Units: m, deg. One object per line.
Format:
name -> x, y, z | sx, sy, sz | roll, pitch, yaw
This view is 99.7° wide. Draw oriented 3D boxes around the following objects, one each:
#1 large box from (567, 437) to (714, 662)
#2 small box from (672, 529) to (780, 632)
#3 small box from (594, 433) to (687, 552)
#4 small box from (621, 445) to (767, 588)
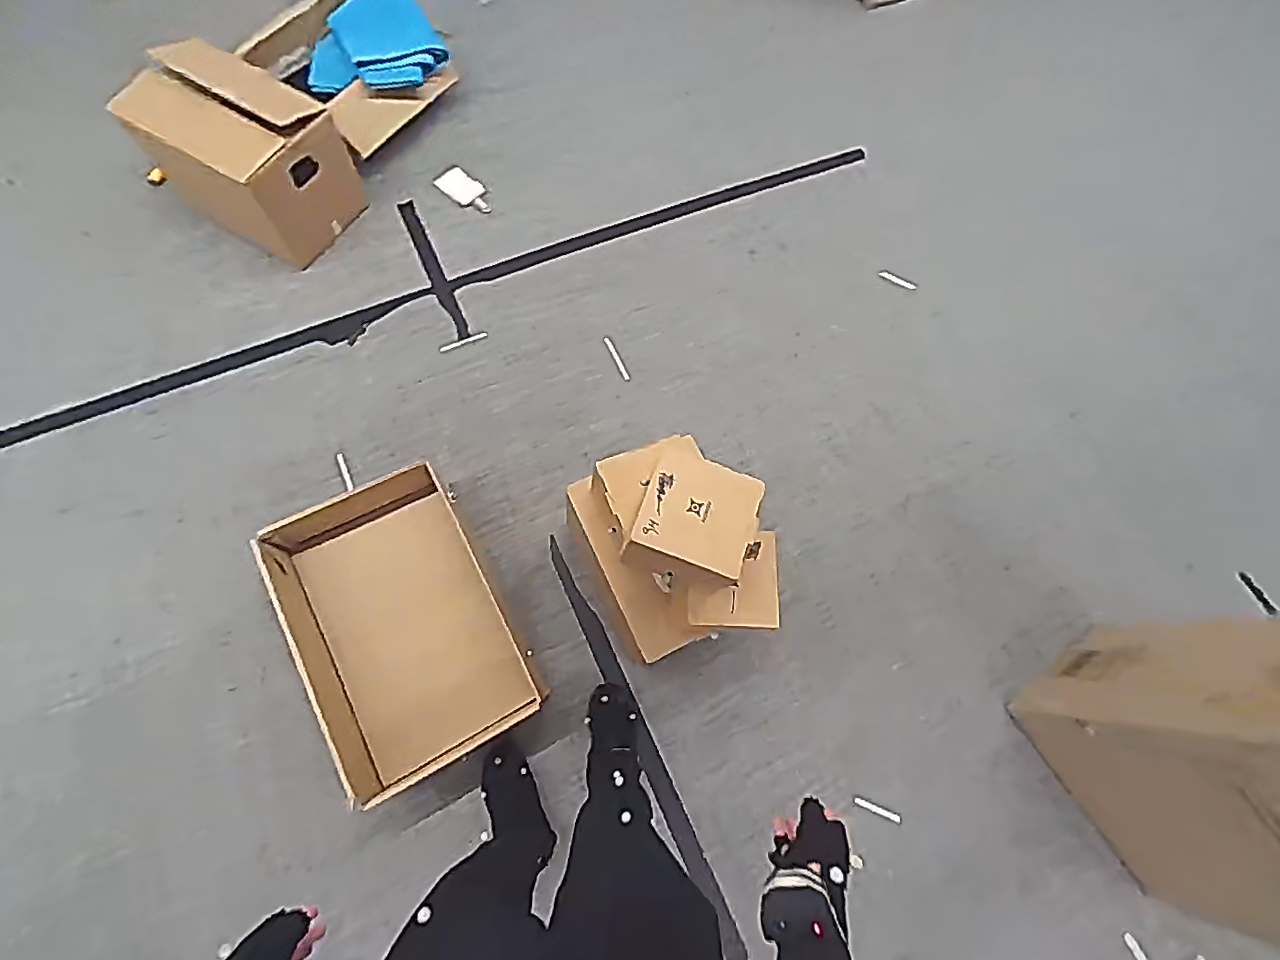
large box -> 0.049, 0.174, 1.285 | 0.320, 0.320, 0.408 | -25, 78, -13
small box -> 0.156, 0.193, 1.033 | 0.168, 0.176, 0.179 | 4, 72, -6
small box -> 0.016, 0.033, 1.070 | 0.179, 0.176, 0.168 | -21, 78, -14
small box -> 0.081, 0.070, 0.891 | 0.179, 0.176, 0.168 | 21, 70, -1
